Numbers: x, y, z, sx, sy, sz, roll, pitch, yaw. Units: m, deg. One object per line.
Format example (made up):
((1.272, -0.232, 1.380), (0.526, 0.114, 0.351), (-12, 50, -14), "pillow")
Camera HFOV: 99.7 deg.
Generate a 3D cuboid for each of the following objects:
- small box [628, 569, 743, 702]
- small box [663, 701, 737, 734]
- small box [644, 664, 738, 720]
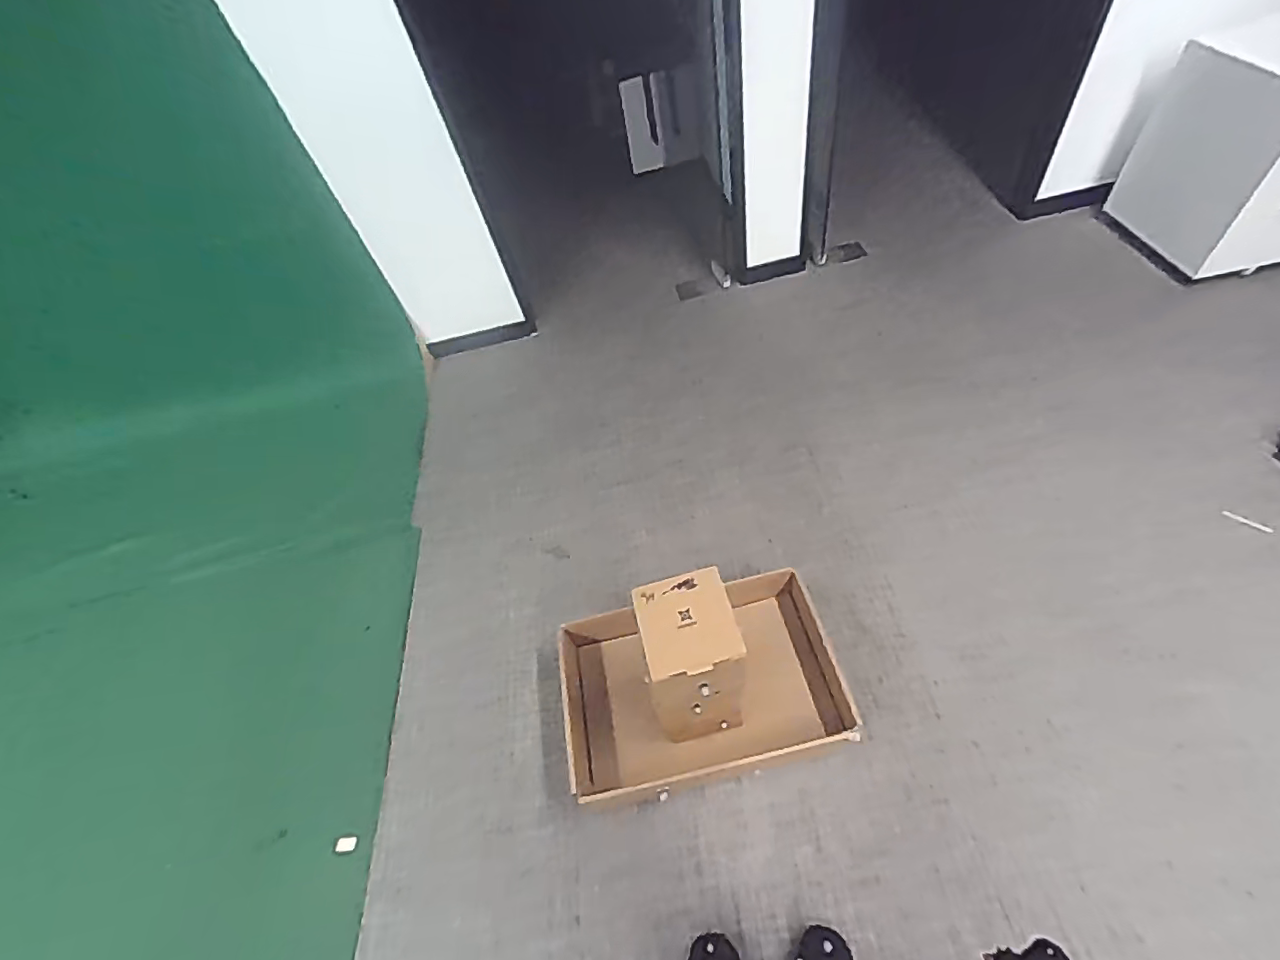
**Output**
((0.089, 0.302, 1.022), (0.168, 0.176, 0.179), (-17, 51, -1), "small box")
((0.127, 0.480, 1.271), (0.168, 0.176, 0.179), (-14, 50, 0), "small box")
((0.104, 0.395, 1.153), (0.179, 0.176, 0.168), (-13, 51, 2), "small box")
